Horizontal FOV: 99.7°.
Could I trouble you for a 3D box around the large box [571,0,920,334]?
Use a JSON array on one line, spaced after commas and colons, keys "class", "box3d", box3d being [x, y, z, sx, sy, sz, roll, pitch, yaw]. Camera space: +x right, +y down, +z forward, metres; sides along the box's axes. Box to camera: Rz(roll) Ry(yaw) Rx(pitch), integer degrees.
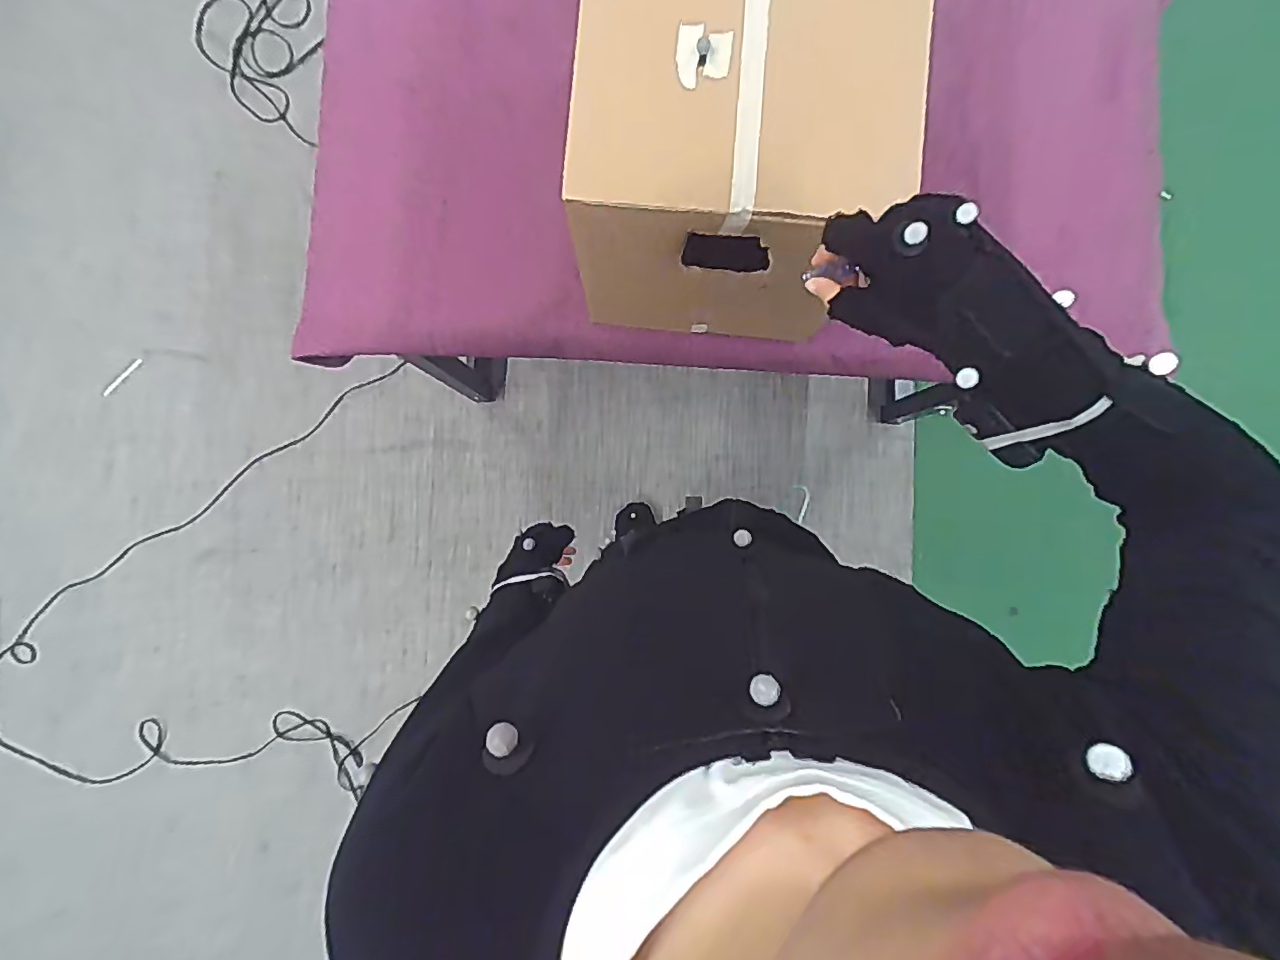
[{"class": "large box", "box3d": [0.101, -0.427, 0.643, 0.320, 0.320, 0.408, 5, 88, 0]}]
